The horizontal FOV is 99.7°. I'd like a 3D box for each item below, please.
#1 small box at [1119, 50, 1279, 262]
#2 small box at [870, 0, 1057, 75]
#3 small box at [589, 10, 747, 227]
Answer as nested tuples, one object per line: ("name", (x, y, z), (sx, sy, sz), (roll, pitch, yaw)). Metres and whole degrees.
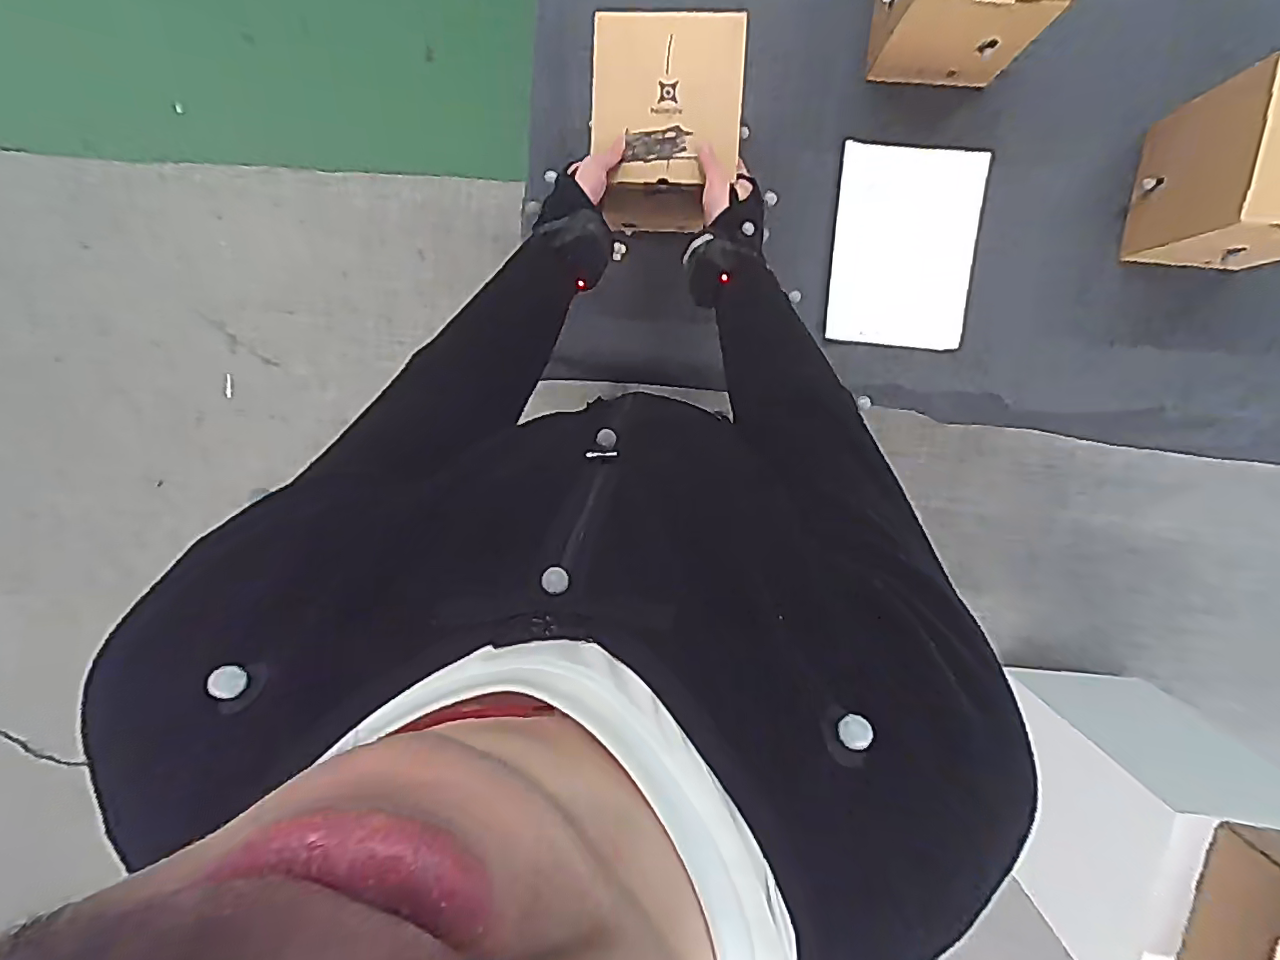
("small box", (0.747, -0.376, 0.661), (0.168, 0.176, 0.179), (5, 101, 2))
("small box", (0.385, -0.610, 0.626), (0.168, 0.176, 0.179), (4, 99, 1))
("small box", (0.034, -0.427, 0.668), (0.168, 0.176, 0.179), (3, 99, 3))
